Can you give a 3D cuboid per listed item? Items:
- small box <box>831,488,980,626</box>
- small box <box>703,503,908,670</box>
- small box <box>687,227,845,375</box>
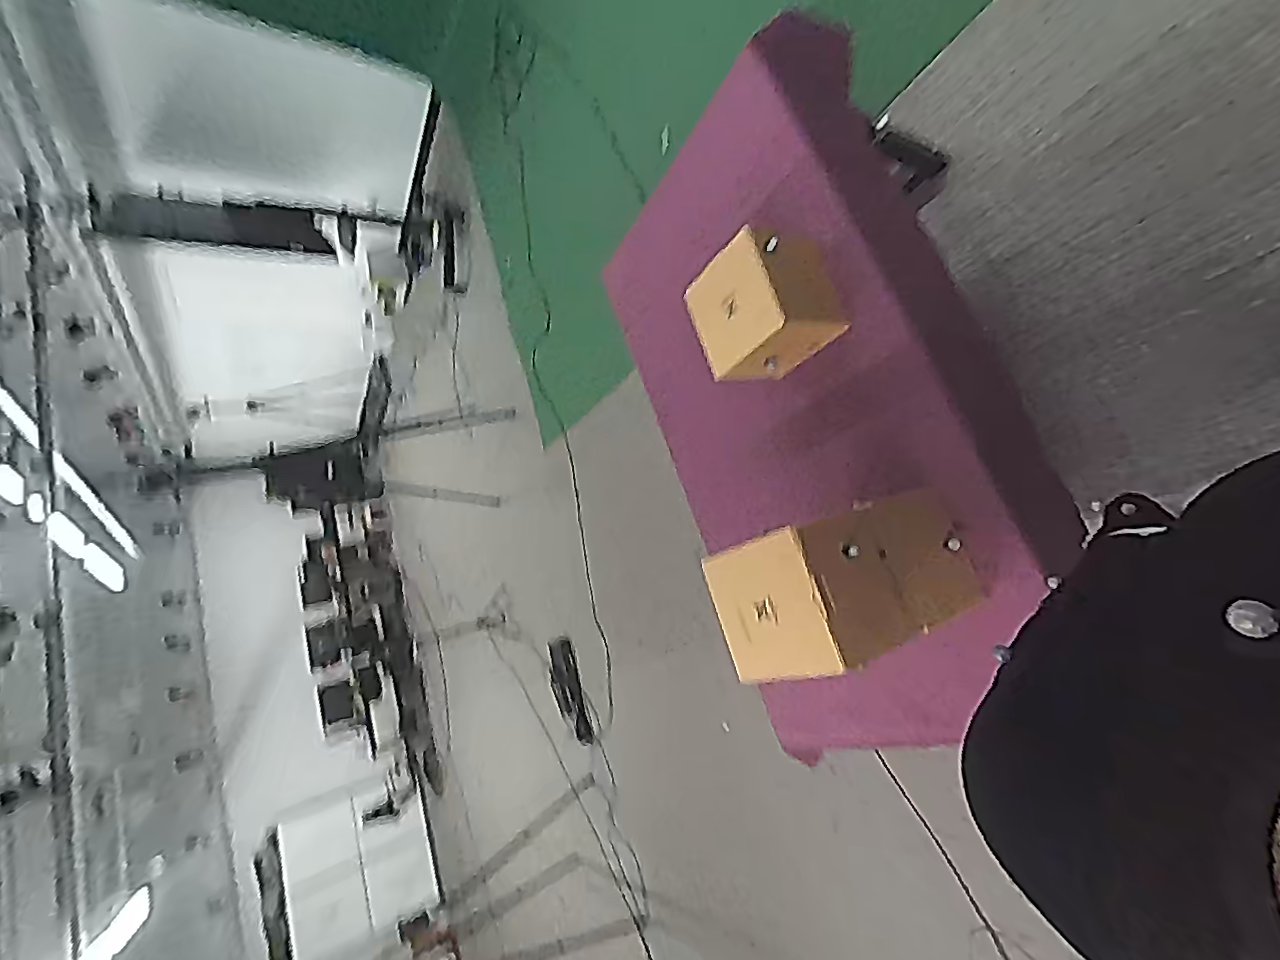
[{"bbox_3d":[0.355,0.118,0.799,0.168,0.176,0.179,-37,66,52],"label":"small box"},{"bbox_3d":[0.219,0.138,0.711,0.179,0.176,0.168,-35,68,53],"label":"small box"},{"bbox_3d":[0.214,-0.295,0.917,0.168,0.176,0.179,-35,68,52],"label":"small box"}]
